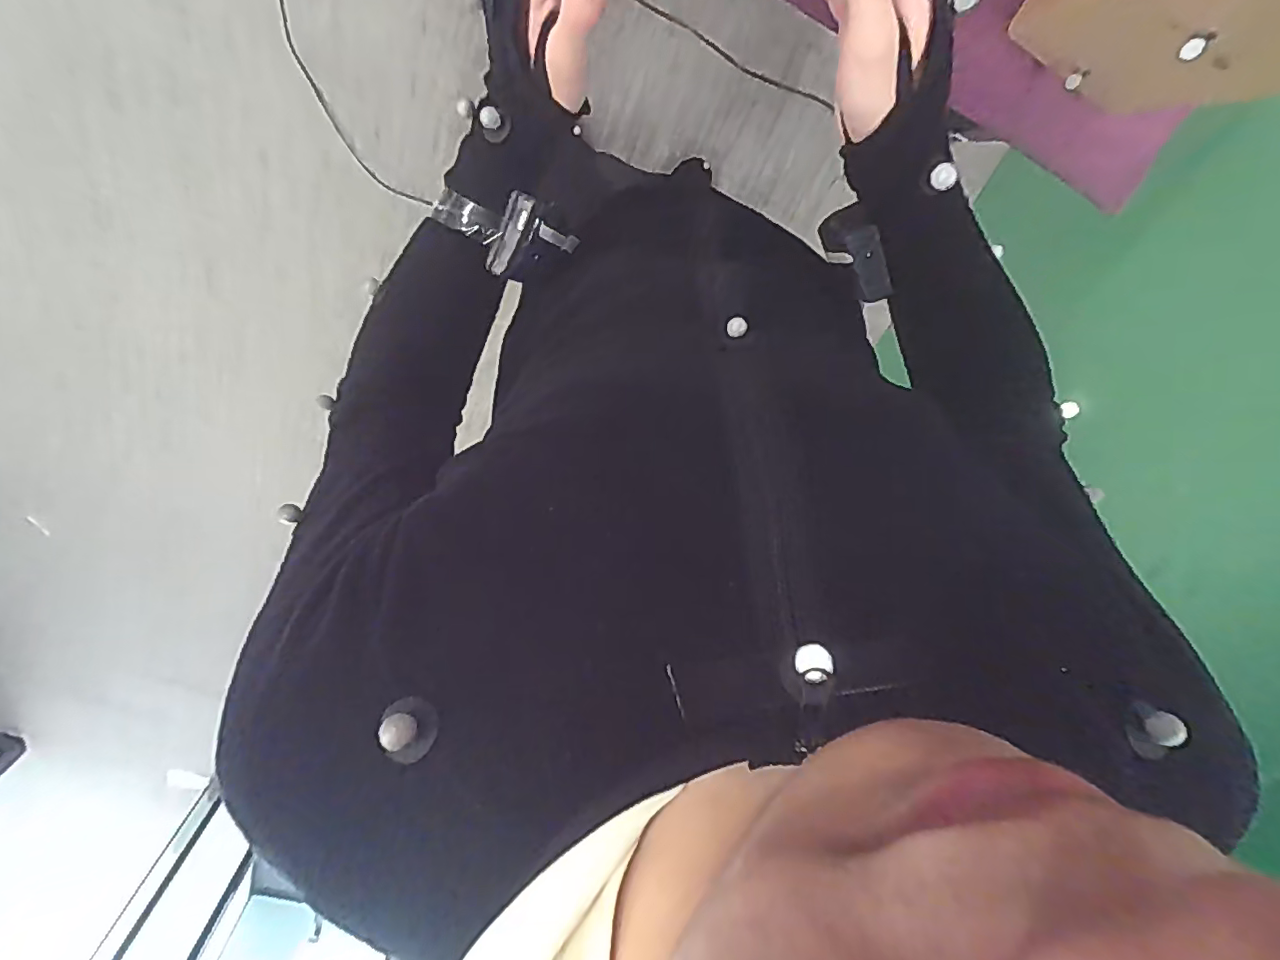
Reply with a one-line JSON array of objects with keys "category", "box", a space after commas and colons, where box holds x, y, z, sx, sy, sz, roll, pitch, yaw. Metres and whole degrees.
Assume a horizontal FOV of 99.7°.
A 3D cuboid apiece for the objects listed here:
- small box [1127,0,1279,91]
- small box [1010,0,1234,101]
[{"category": "small box", "box": [0.526, -0.419, 0.385, 0.168, 0.176, 0.179, 25, 118, -12]}, {"category": "small box", "box": [0.524, -0.502, 0.526, 0.179, 0.176, 0.168, 24, 118, -13]}]
